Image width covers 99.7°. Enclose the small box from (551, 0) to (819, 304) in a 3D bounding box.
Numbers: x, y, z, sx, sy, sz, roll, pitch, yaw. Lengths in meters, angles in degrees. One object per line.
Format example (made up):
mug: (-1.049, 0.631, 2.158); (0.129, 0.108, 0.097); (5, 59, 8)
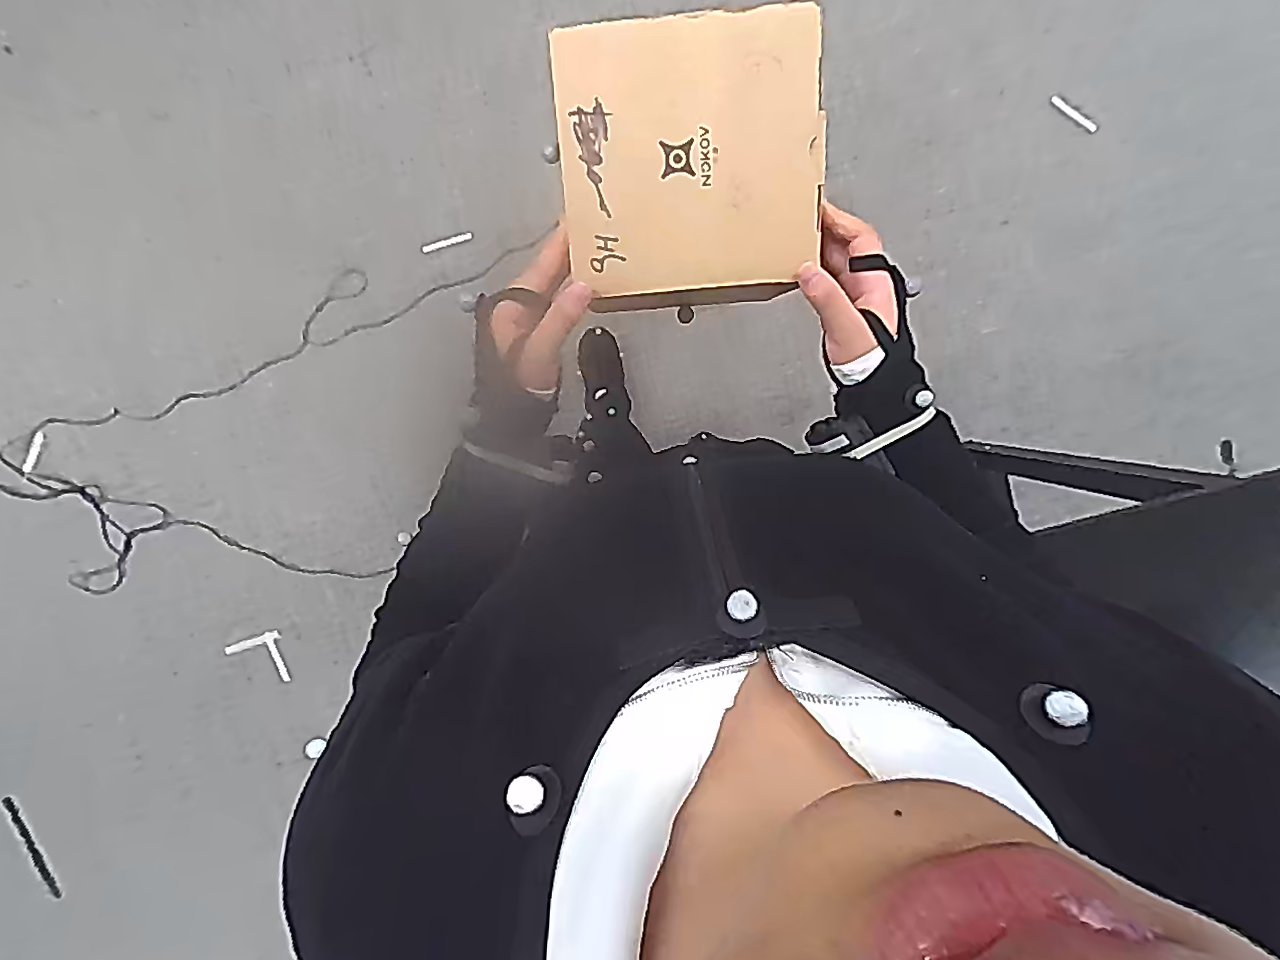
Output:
small box: (0.032, -0.241, 0.442); (0.179, 0.176, 0.168); (-4, 102, 0)
